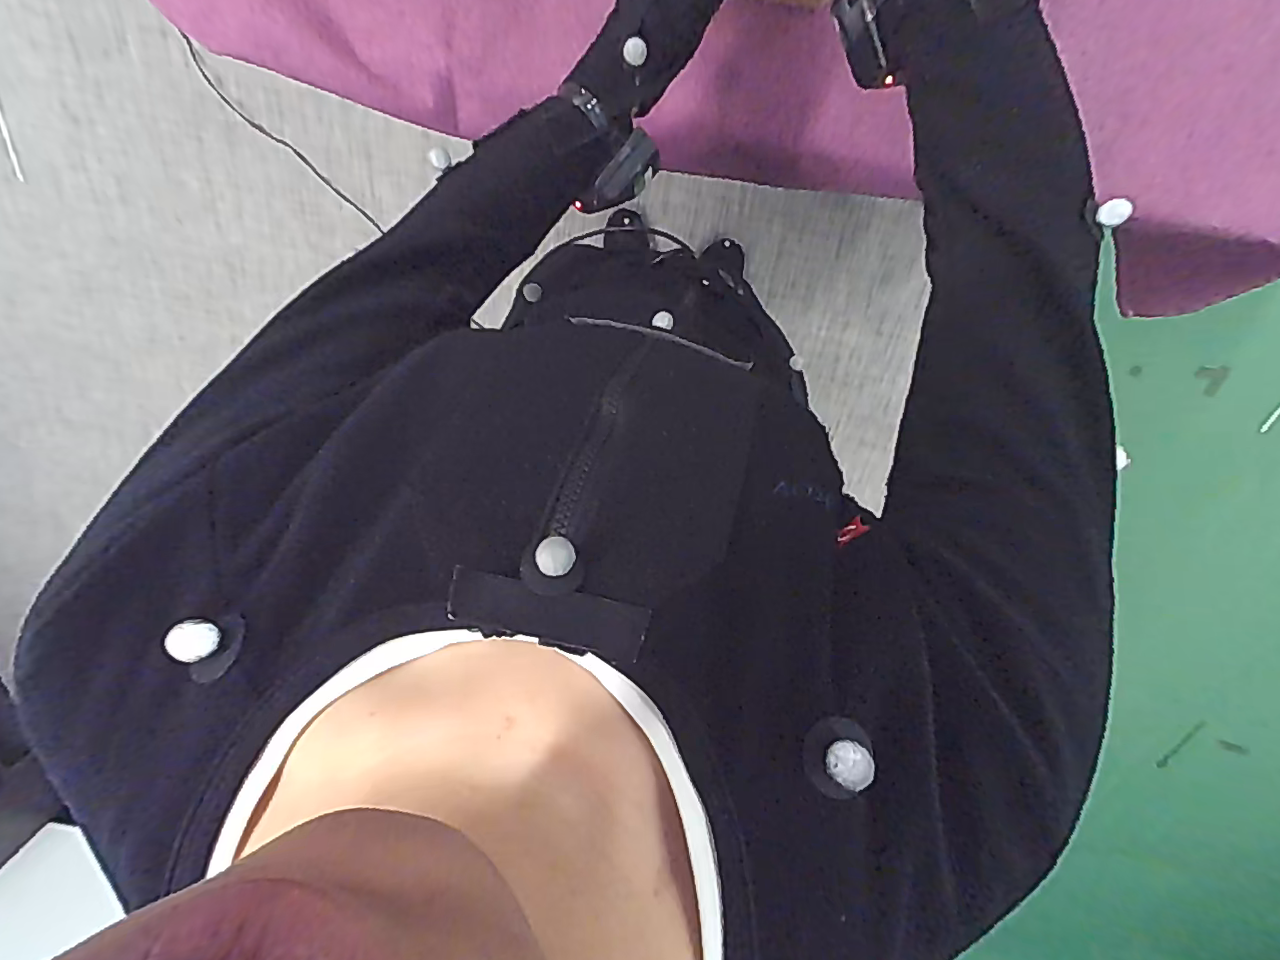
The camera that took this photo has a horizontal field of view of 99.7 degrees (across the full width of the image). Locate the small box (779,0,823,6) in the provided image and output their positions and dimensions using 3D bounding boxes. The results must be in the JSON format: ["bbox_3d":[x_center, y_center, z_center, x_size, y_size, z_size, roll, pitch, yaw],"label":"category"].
[{"bbox_3d":[0.102,-0.497,0.403,0.168,0.176,0.179,10,116,-1],"label":"small box"}]
